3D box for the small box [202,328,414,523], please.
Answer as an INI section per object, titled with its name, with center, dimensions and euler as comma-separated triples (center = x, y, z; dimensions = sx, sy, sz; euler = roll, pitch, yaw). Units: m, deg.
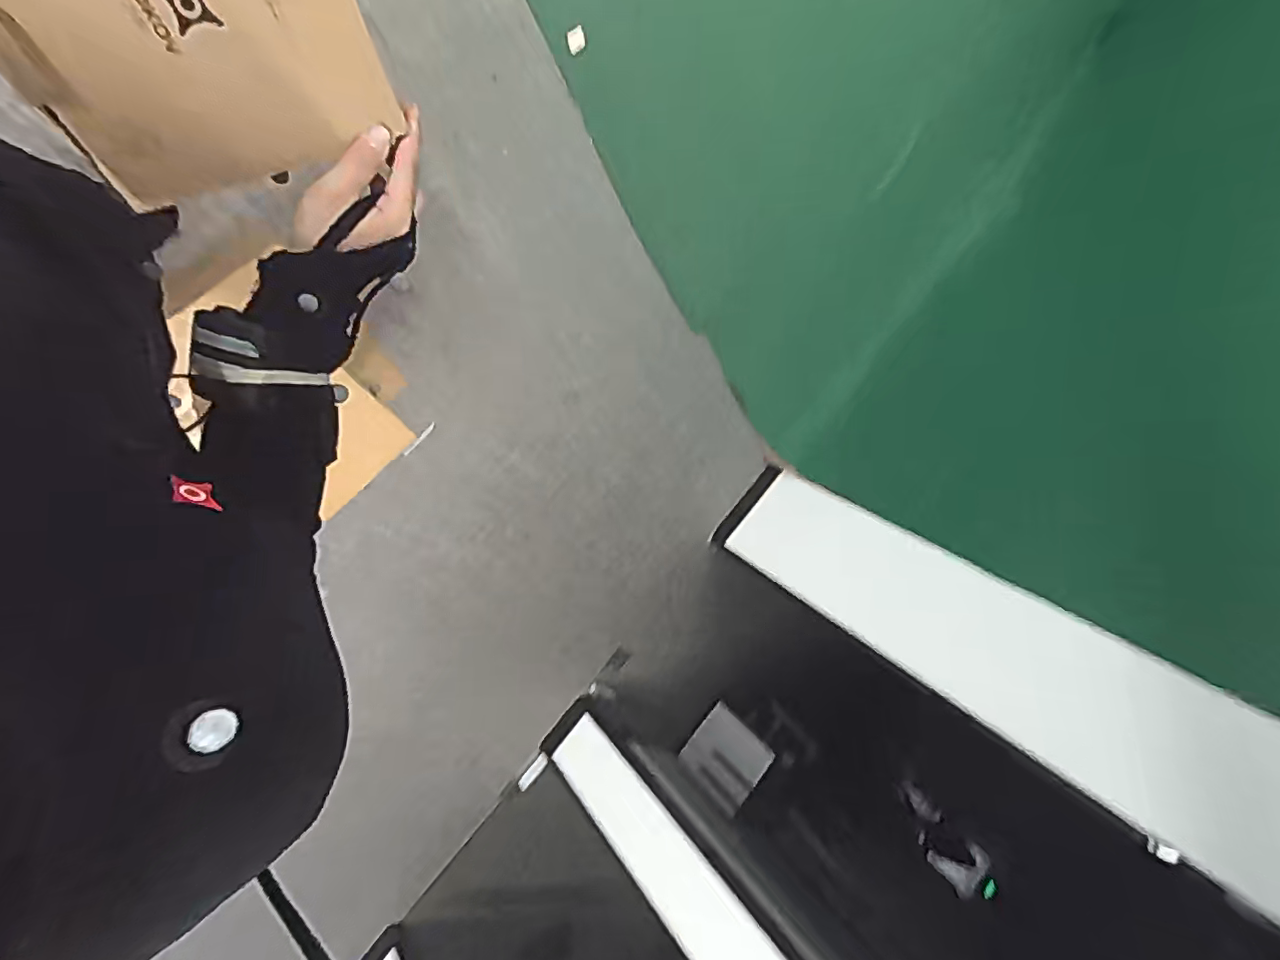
[small box]
center = -0.457, -0.081, 0.743
dimensions = 0.179, 0.176, 0.168
euler = -46, 138, -11
